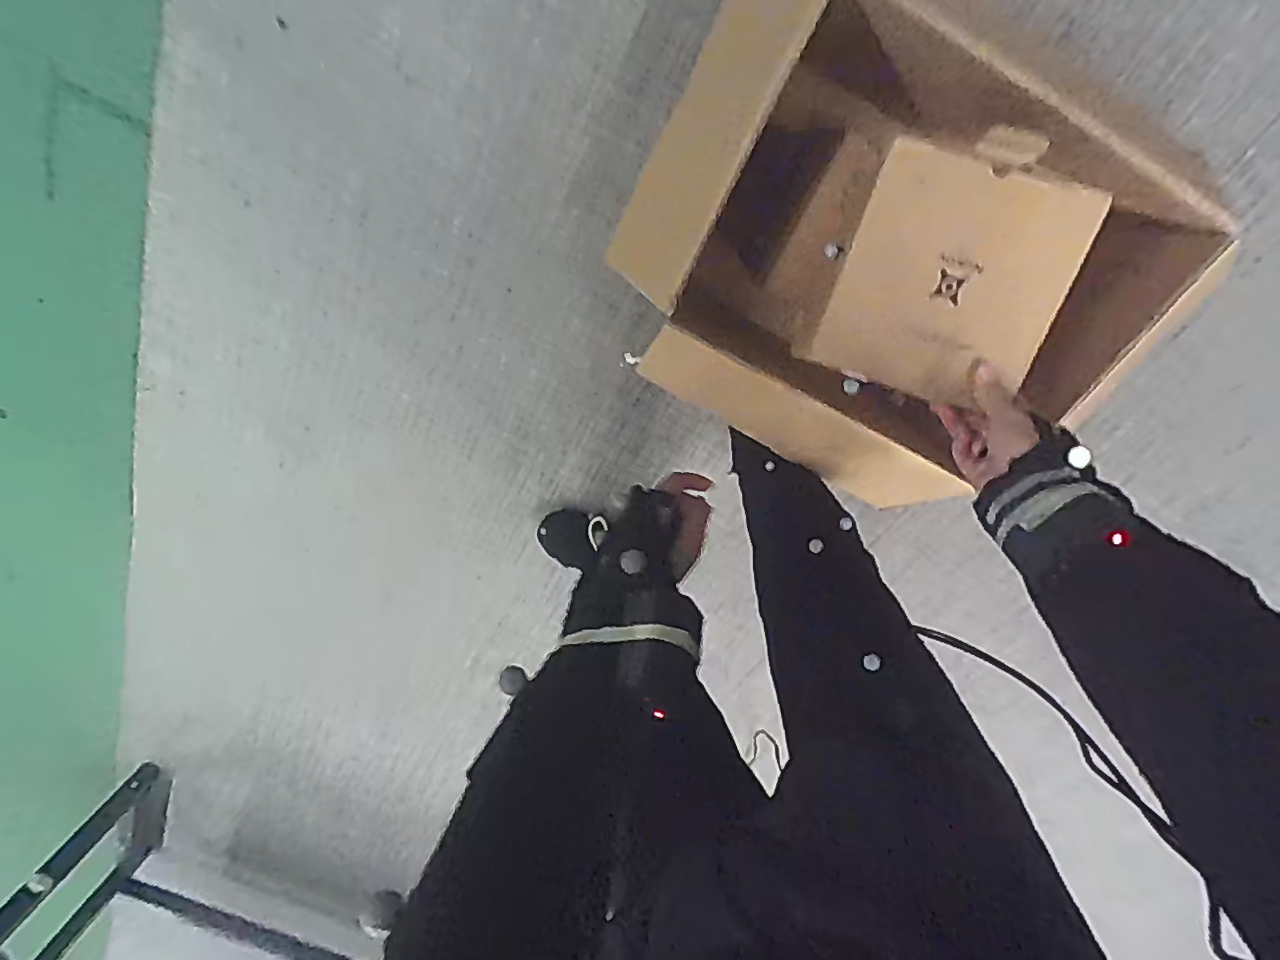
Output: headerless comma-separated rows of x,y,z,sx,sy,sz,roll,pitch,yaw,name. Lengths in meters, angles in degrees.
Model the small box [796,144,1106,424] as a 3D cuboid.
0.255,-0.167,0.500,0.168,0.176,0.179,19,105,6,small box
